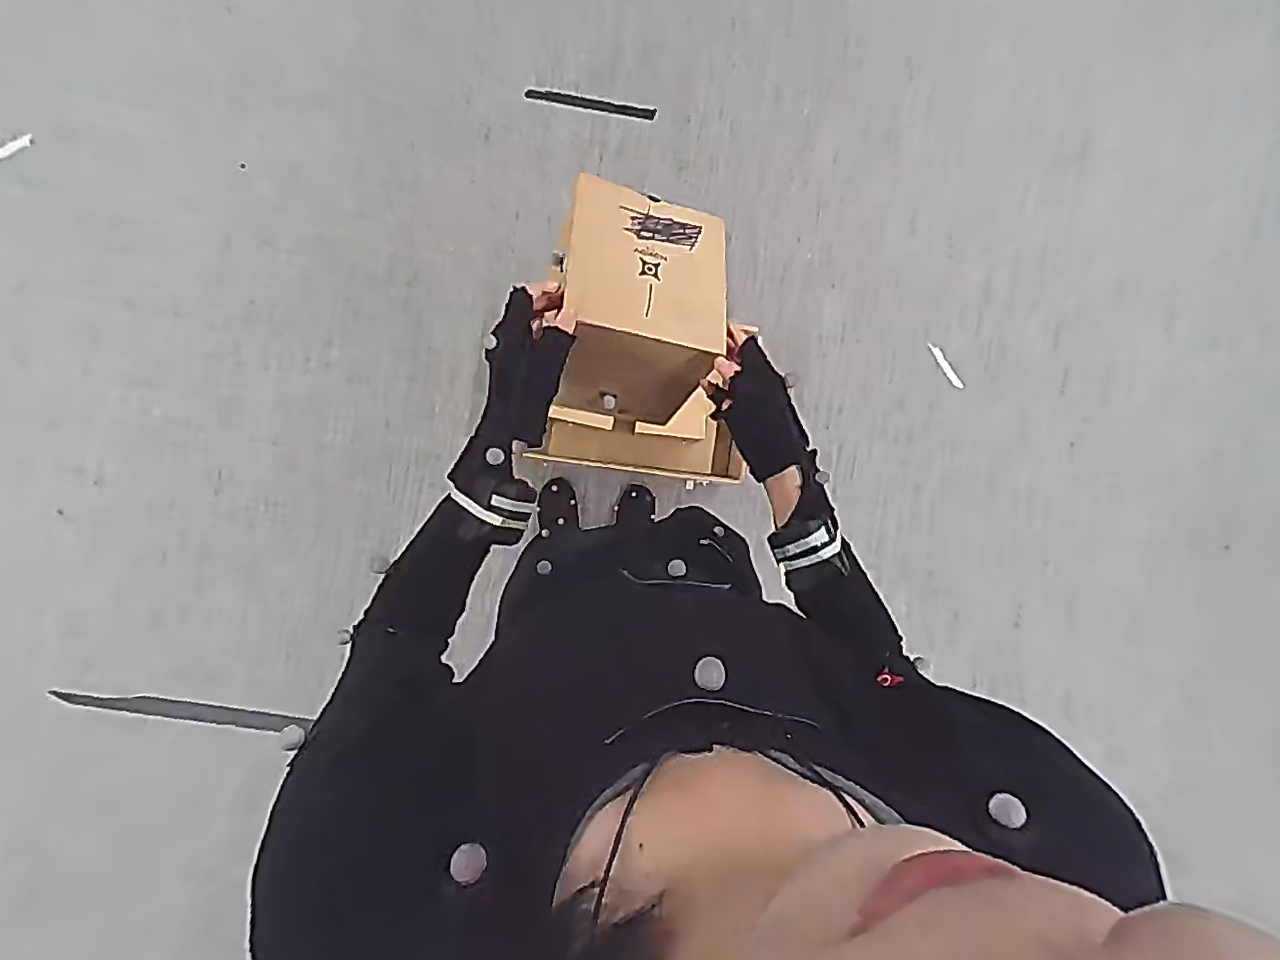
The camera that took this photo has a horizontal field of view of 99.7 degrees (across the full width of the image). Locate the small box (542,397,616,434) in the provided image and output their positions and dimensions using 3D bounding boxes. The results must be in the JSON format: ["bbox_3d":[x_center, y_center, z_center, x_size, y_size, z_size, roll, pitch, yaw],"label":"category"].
[{"bbox_3d":[-0.139,-0.216,1.386,0.179,0.176,0.168,12,91,-4],"label":"small box"}]

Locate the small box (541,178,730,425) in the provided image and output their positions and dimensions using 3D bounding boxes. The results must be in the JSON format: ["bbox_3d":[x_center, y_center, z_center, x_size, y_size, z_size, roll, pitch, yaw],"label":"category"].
[{"bbox_3d":[-0.013,-0.183,0.599,0.168,0.176,0.179,7,68,-15],"label":"small box"}]
